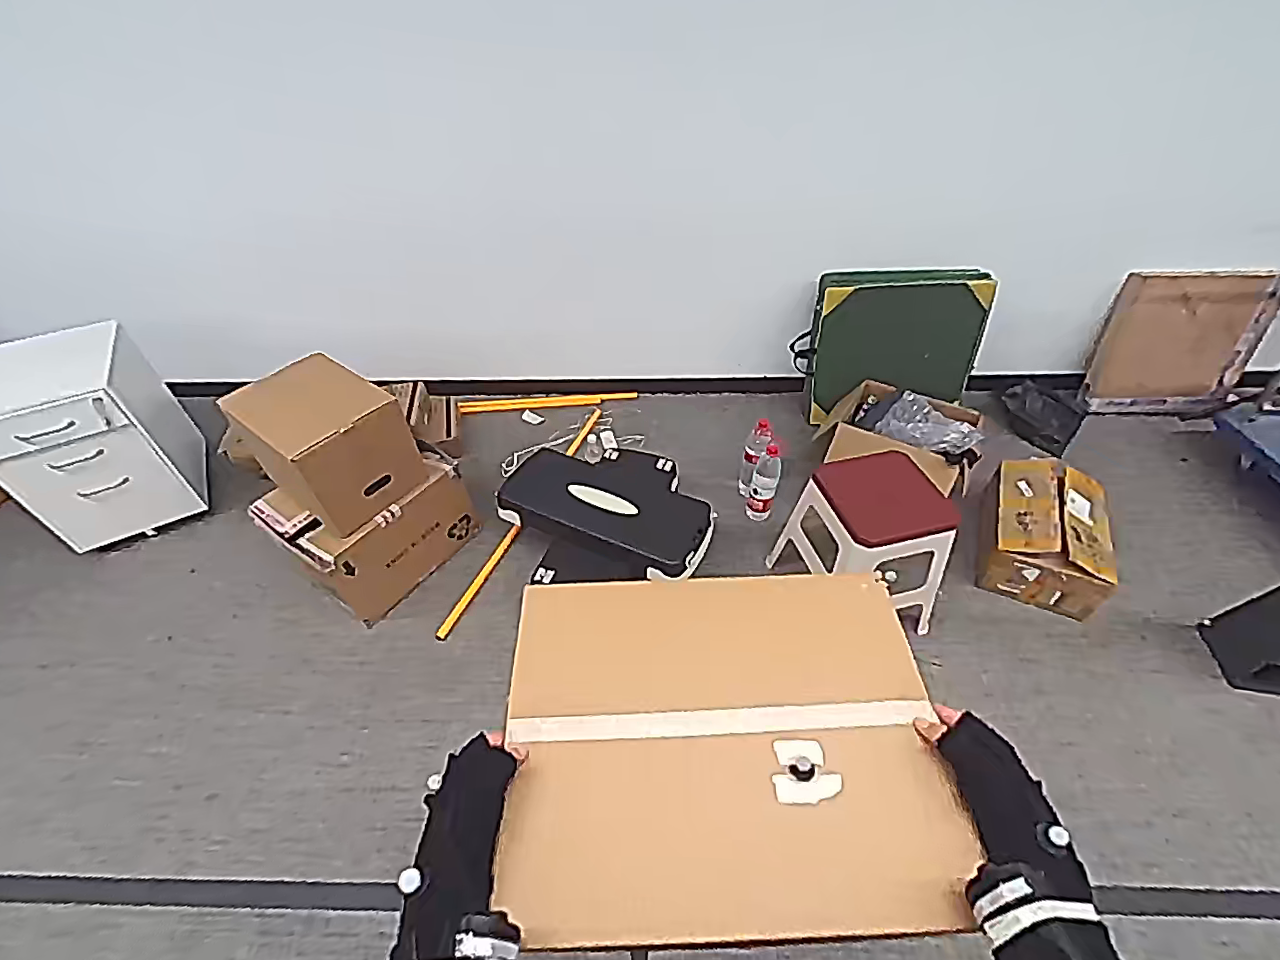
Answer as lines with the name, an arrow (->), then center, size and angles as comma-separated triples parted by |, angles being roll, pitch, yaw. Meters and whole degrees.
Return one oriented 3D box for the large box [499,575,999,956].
large box -> 0.081, 0.333, 0.628 | 0.408, 0.320, 0.320 | -2, 49, 0
